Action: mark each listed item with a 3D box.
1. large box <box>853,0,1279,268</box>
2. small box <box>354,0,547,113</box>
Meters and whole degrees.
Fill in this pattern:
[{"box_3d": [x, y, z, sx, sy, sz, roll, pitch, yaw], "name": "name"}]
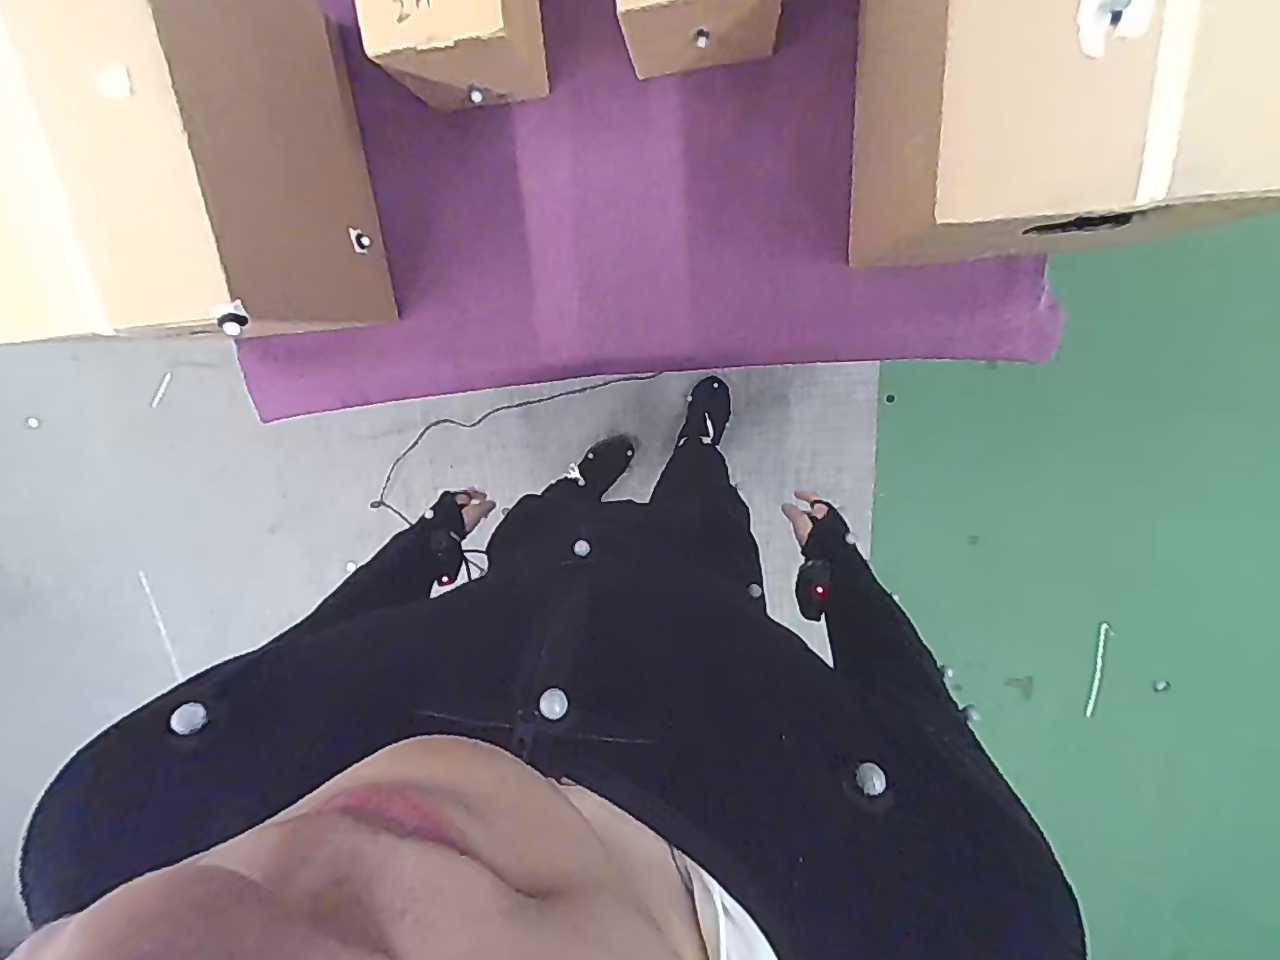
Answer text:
[{"box_3d": [0.406, -0.446, 0.528, 0.320, 0.320, 0.408, -1, 106, 9], "name": "large box"}, {"box_3d": [-0.219, -0.573, 0.642, 0.168, 0.176, 0.179, -2, 105, 9], "name": "small box"}]
